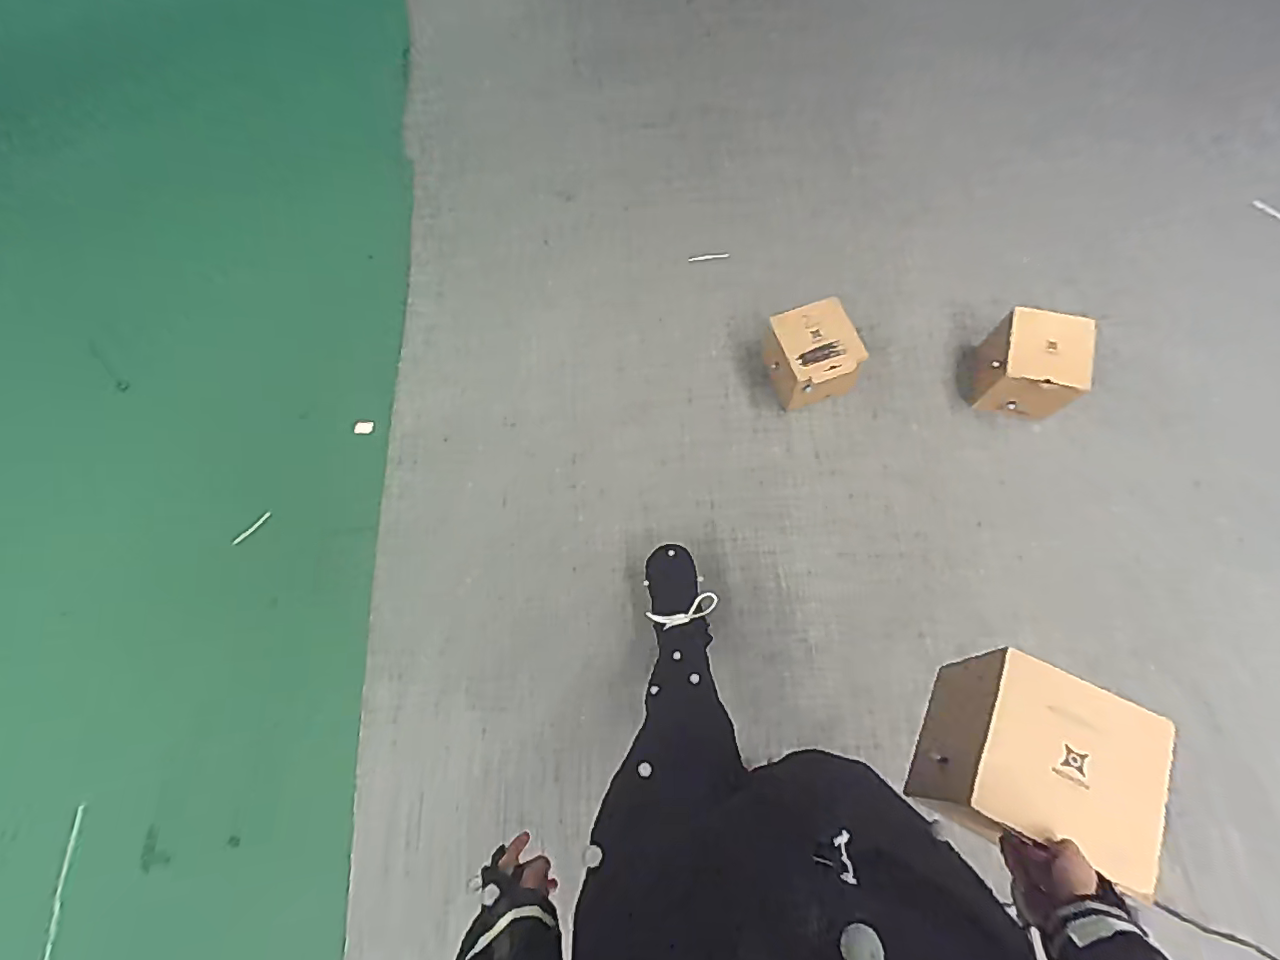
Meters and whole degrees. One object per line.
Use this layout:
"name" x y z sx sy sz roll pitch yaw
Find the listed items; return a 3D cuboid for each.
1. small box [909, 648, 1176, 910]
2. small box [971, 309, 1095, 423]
"small box" 0.428 0.317 0.602 0.168 0.176 0.179 26 67 13
"small box" 0.881 -0.254 1.225 0.168 0.176 0.179 14 75 9
